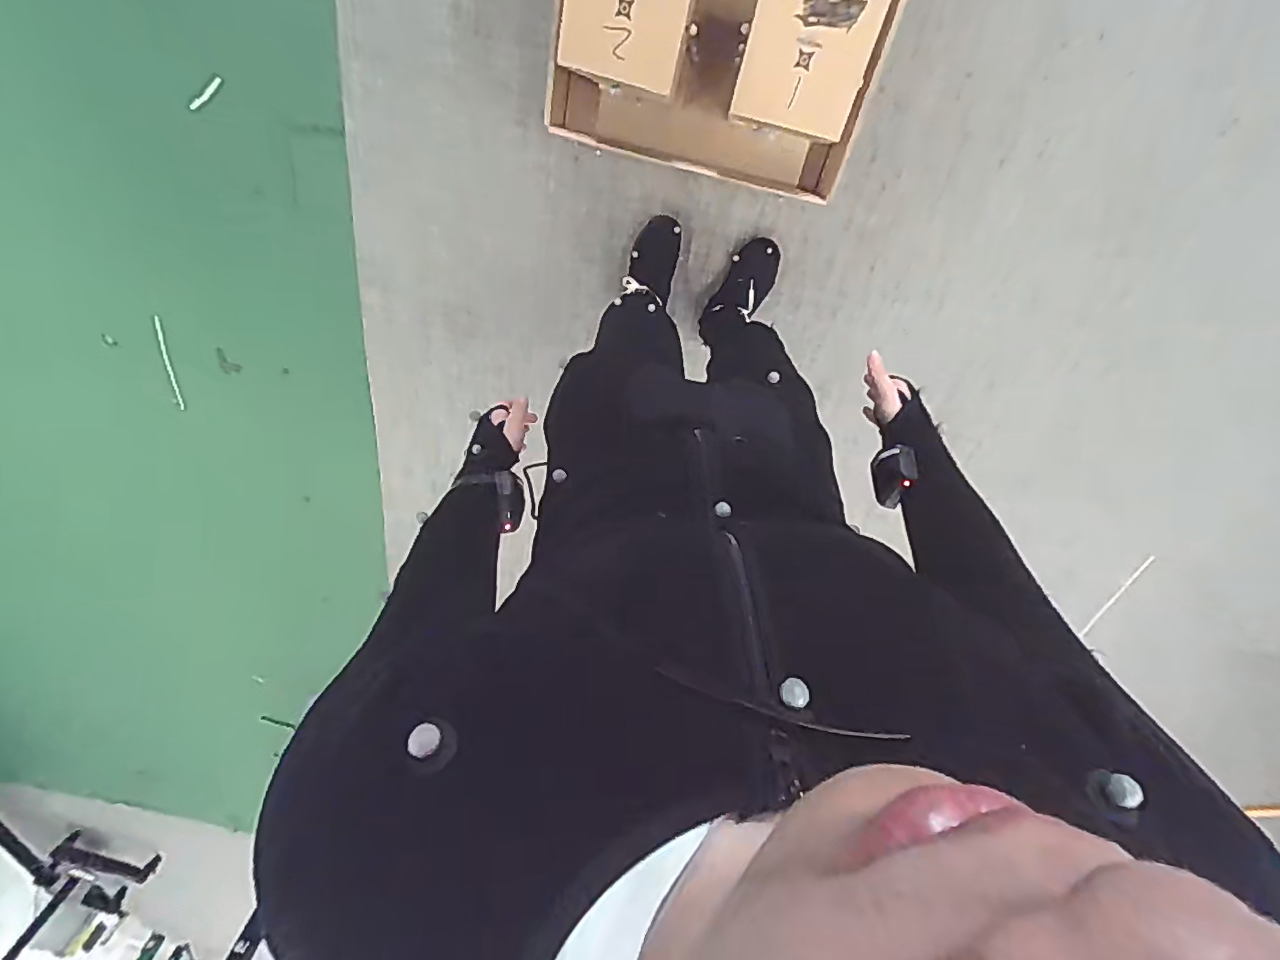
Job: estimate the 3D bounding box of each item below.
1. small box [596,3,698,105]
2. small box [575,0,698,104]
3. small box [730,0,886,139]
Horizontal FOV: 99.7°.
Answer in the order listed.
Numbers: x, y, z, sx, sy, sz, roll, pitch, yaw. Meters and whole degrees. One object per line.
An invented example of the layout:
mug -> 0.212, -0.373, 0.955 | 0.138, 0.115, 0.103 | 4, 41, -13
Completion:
small box -> 0.017, -0.858, 1.063 | 0.168, 0.176, 0.179 | 11, 123, -3
small box -> 0.000, -0.773, 0.923 | 0.168, 0.176, 0.179 | 16, 122, -4
small box -> 0.233, -0.626, 0.800 | 0.168, 0.176, 0.179 | 15, 123, -1
